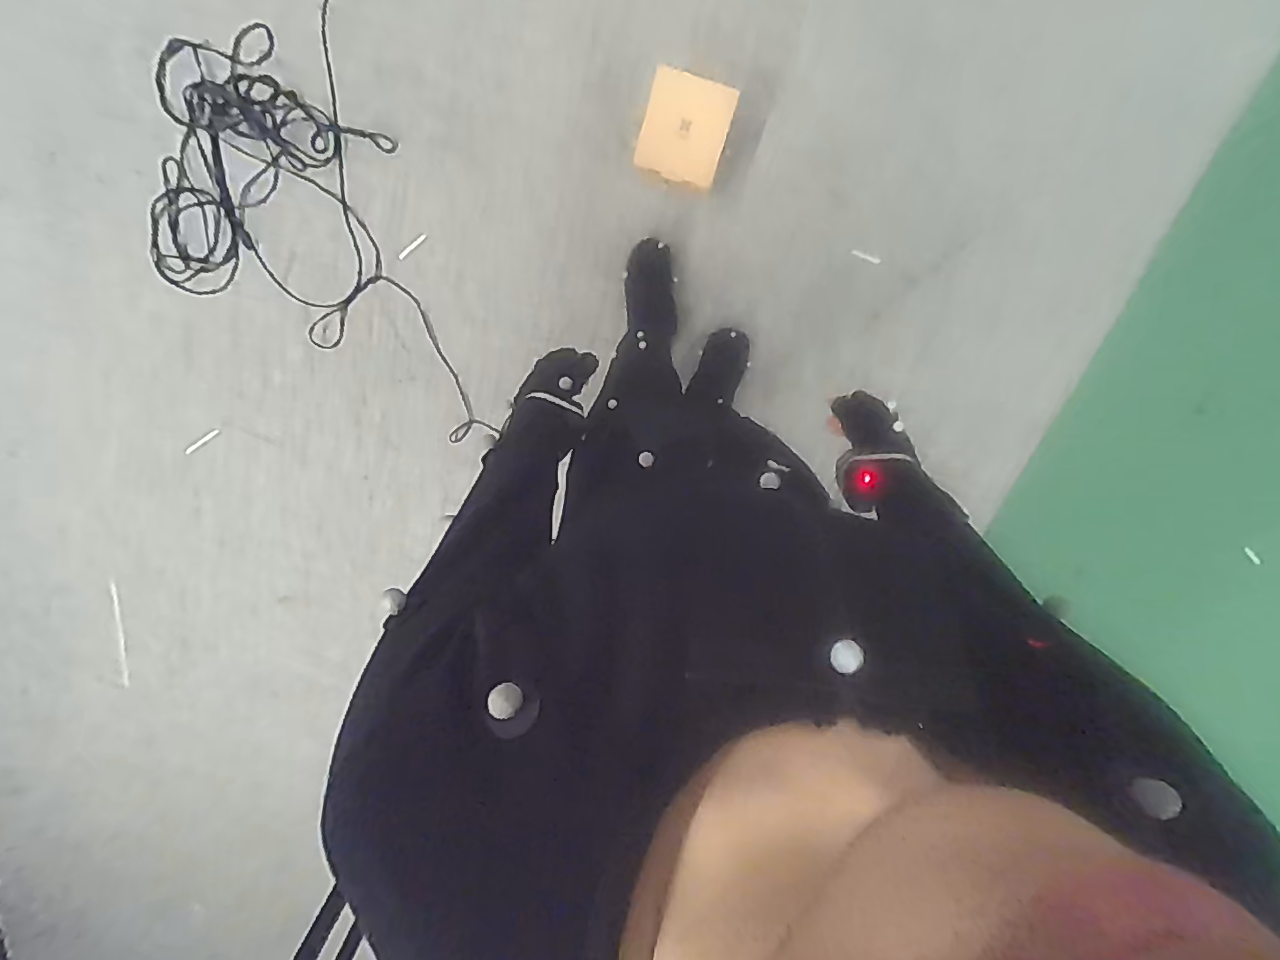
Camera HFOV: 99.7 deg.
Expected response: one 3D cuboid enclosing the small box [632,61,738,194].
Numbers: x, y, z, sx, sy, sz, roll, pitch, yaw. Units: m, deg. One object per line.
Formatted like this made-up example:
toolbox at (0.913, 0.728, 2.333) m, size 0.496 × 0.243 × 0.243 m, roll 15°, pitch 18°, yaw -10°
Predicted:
small box at (0.090, -0.722, 1.128) m, size 0.168 × 0.176 × 0.179 m, roll 17°, pitch 112°, yaw -2°
